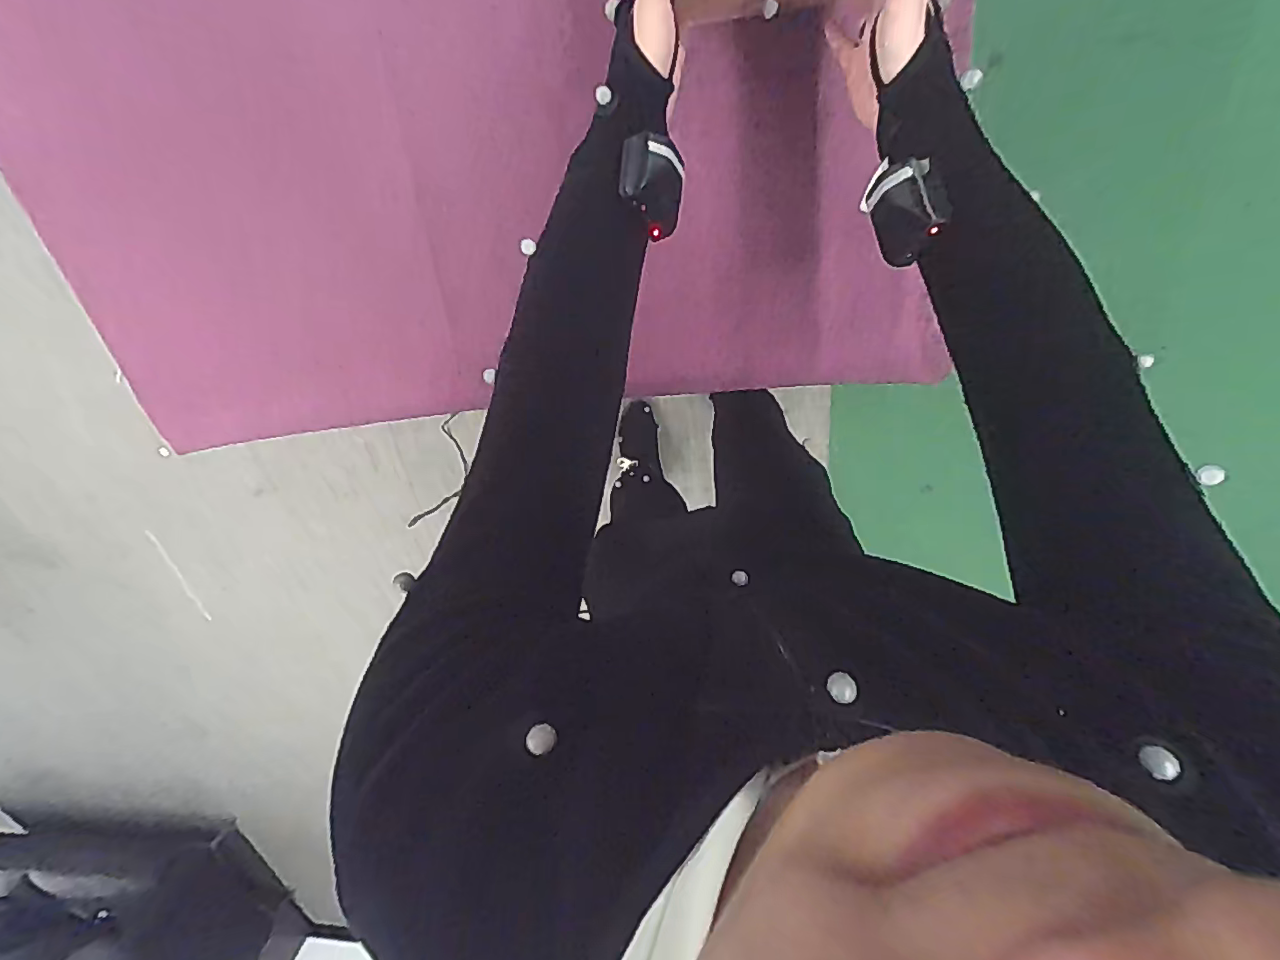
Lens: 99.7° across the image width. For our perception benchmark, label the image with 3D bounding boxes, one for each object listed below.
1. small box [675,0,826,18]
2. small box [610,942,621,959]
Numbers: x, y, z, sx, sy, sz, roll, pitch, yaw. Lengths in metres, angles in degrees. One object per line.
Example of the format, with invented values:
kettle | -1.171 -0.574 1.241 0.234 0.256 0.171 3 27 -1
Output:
small box | 0.101 -0.501 0.432 0.168 0.176 0.179 -2 120 8
small box | -0.160 1.738 1.880 0.168 0.176 0.179 0 115 10
